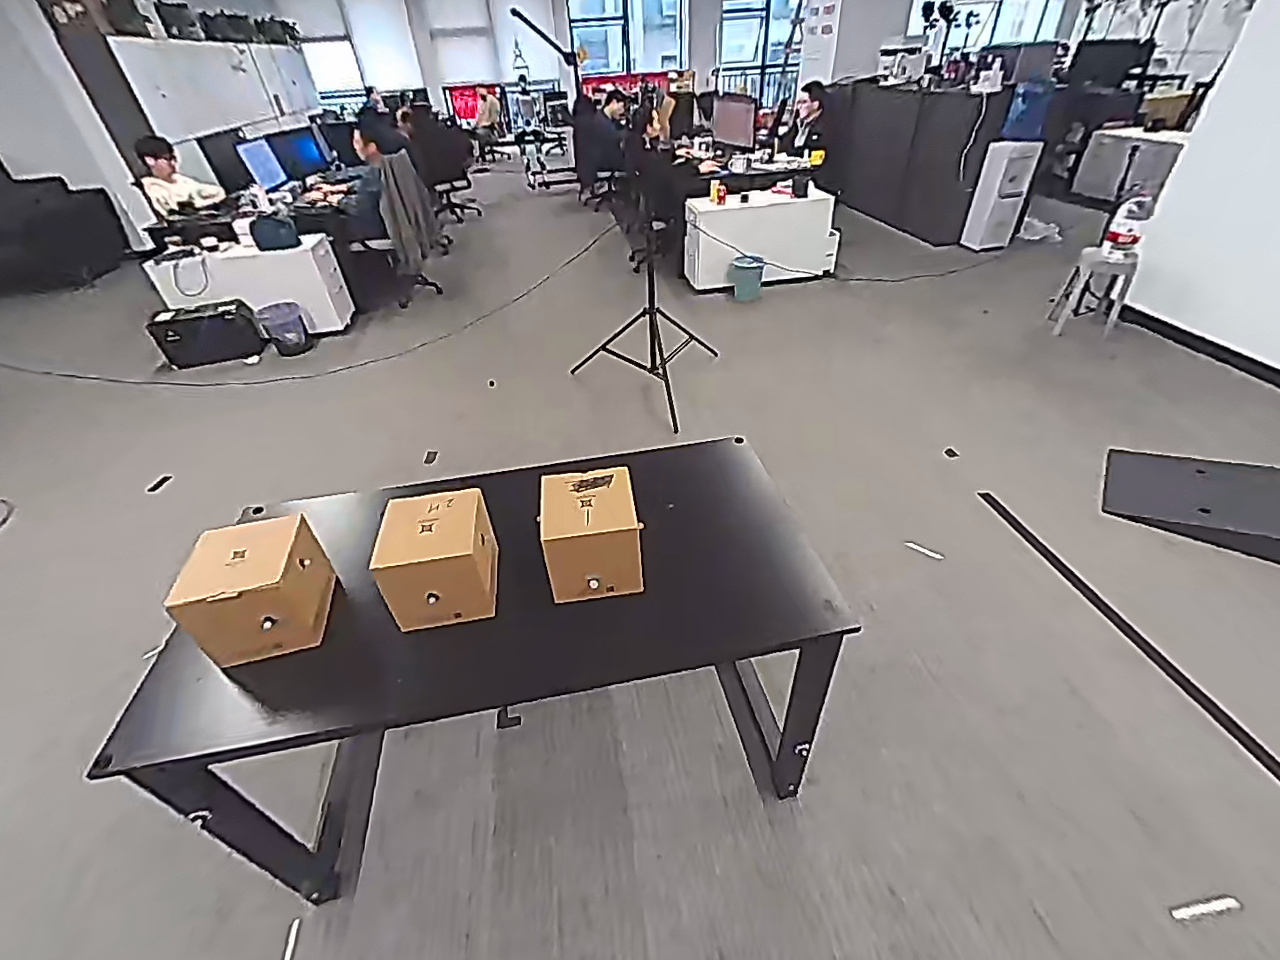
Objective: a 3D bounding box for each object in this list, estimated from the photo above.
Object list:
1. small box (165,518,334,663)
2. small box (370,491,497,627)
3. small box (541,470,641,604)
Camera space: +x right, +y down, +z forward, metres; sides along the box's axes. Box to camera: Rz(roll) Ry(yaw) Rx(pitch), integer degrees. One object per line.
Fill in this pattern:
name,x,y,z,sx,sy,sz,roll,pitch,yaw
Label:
small box,-0.662,0.197,0.947,0.168,0.176,0.179,-11,38,-11
small box,-0.360,0.148,0.981,0.168,0.176,0.179,-8,38,-6
small box,-0.090,0.106,1.012,0.168,0.176,0.179,-7,39,-4
